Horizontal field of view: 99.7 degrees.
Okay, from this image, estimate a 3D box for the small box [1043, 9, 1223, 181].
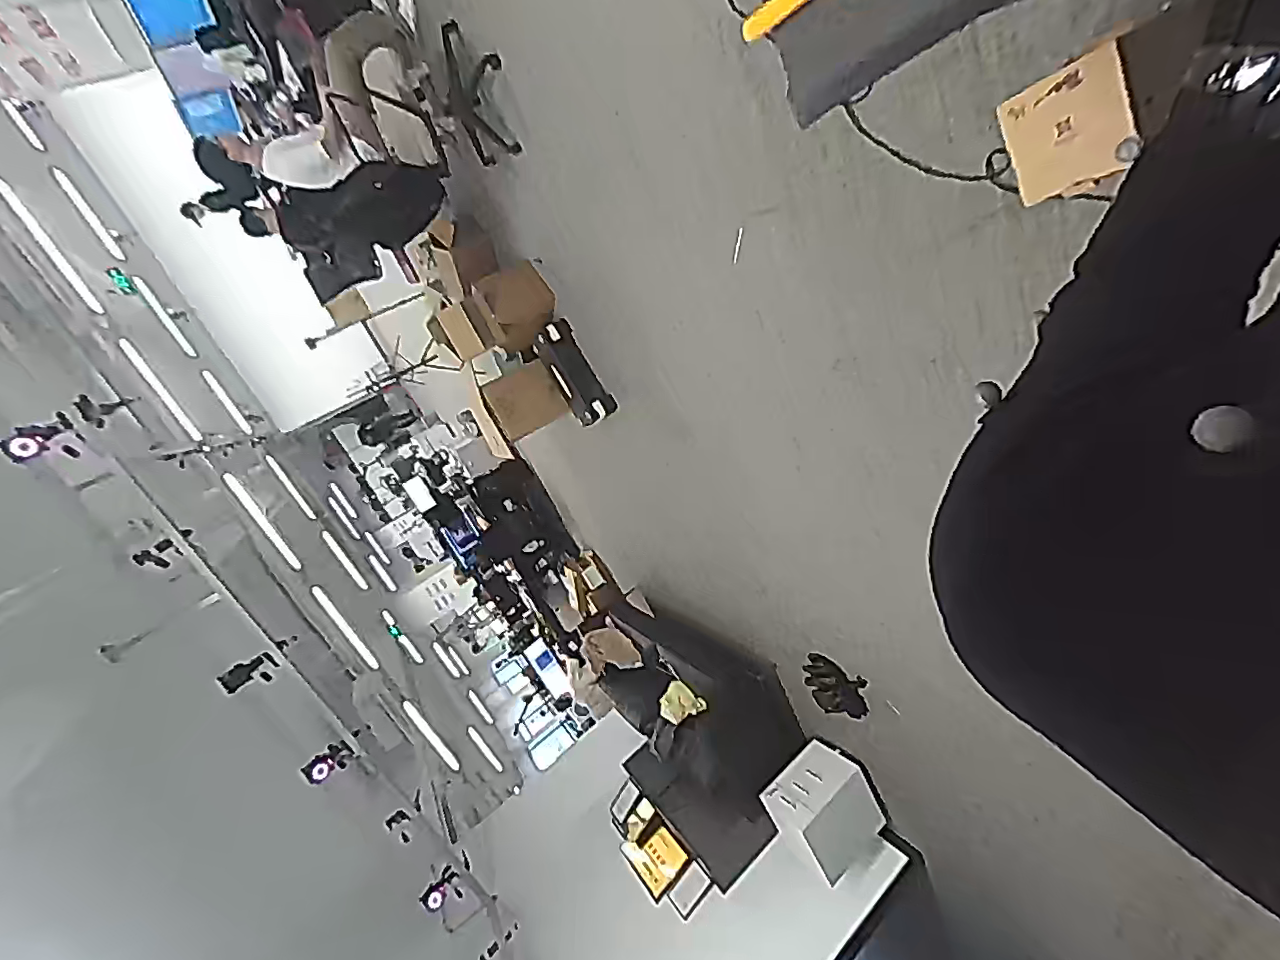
[{"bbox_3d":[0.852,-0.664,0.936,0.179,0.176,0.168,60,158,-12],"label":"small box"}]
